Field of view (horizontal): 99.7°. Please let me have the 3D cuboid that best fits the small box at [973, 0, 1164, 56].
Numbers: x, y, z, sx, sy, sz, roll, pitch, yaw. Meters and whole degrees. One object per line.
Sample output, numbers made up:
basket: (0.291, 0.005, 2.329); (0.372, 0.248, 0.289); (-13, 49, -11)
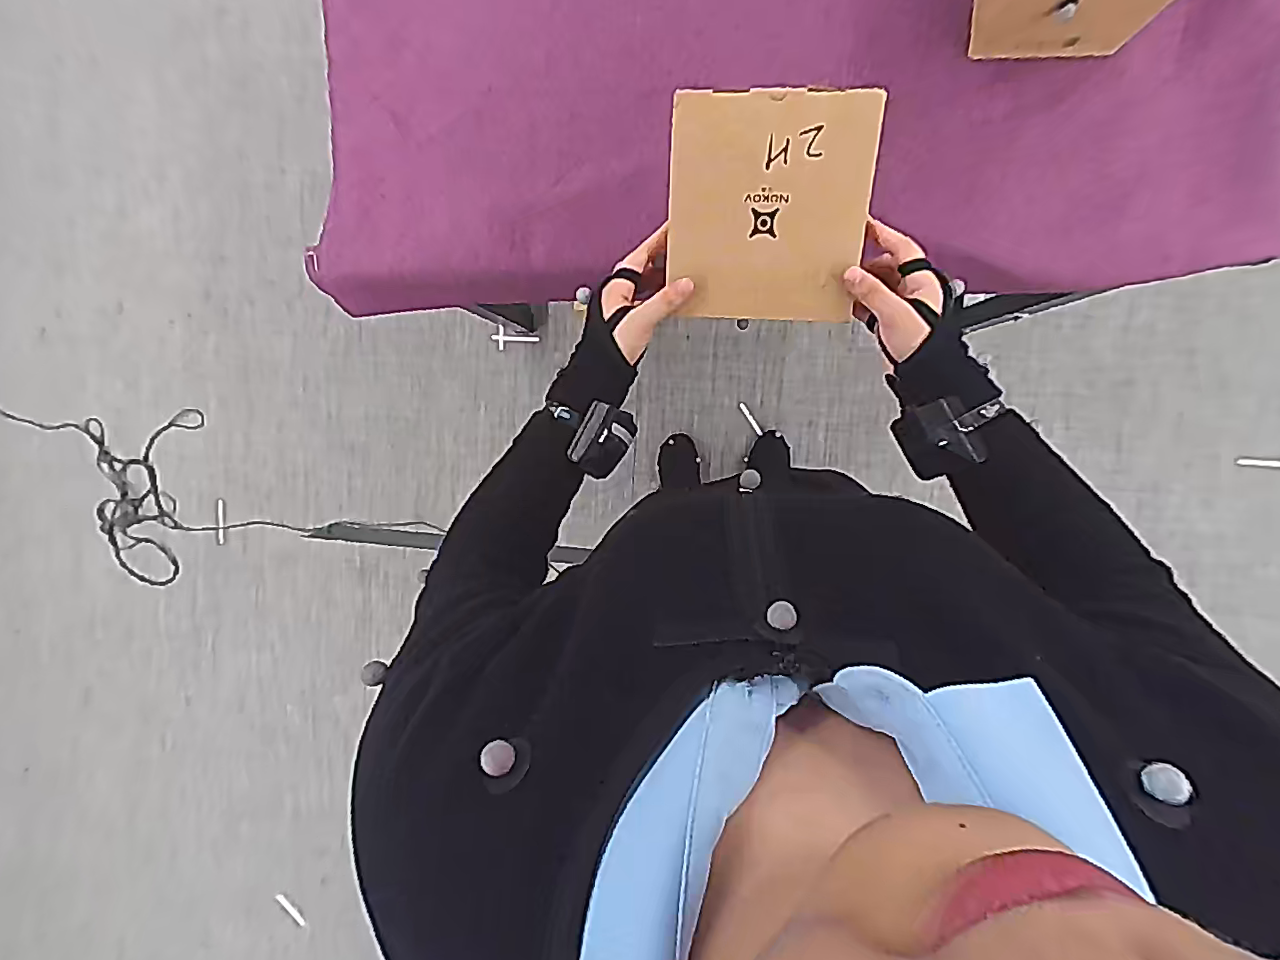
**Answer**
small box: (0.484, -0.592, 0.575); (0.168, 0.176, 0.179); (3, 96, 6)
